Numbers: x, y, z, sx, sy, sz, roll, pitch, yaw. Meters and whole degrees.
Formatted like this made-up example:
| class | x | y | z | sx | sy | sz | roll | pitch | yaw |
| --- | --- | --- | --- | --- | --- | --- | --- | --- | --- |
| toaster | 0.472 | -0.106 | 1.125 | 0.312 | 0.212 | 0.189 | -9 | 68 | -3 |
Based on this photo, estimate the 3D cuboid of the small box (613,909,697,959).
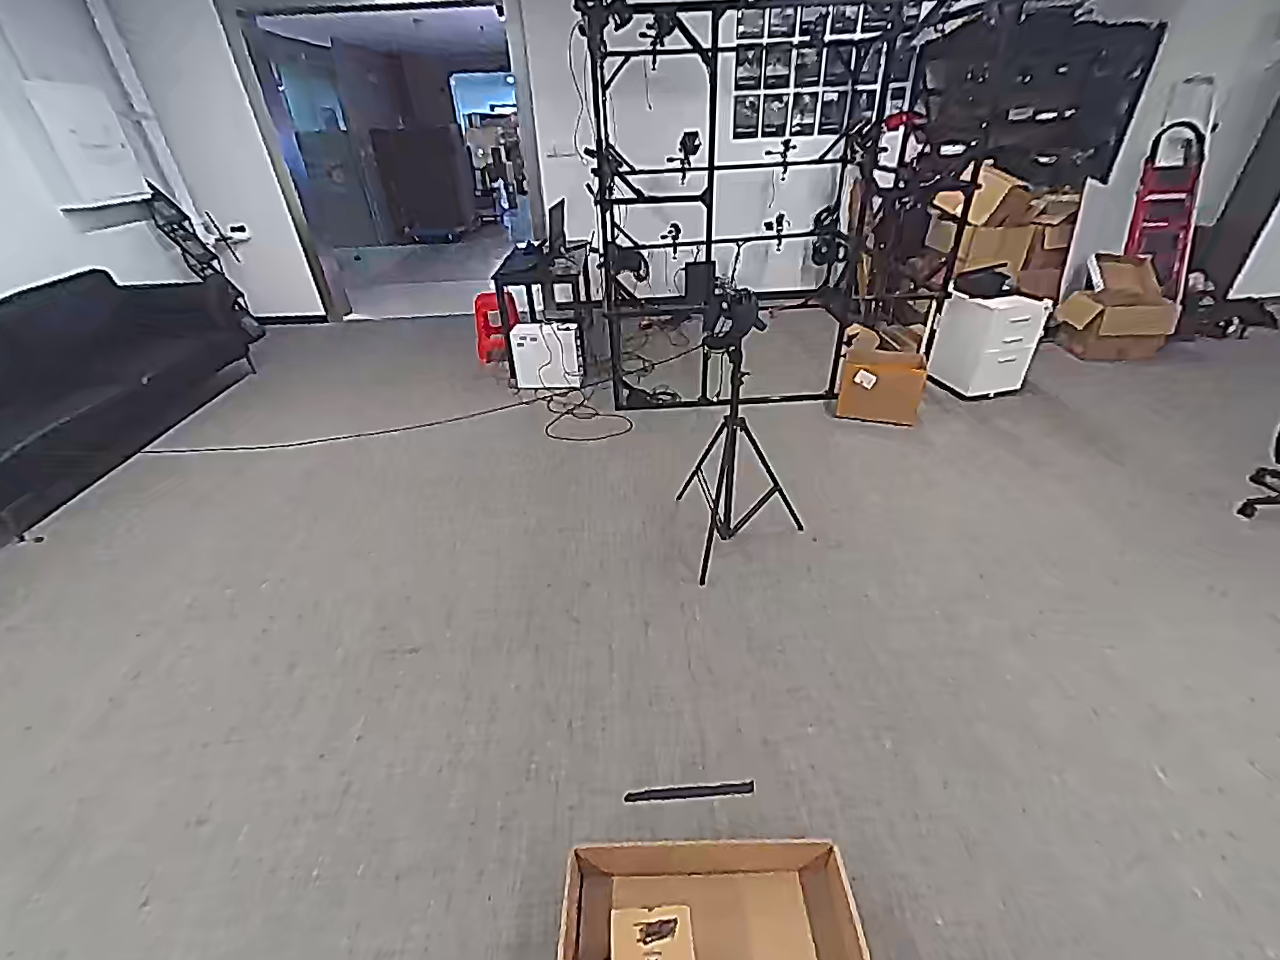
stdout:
| class | x | y | z | sx | sy | sz | roll | pitch | yaw |
| --- | --- | --- | --- | --- | --- | --- | --- | --- | --- |
| small box | 0.030 | 1.002 | 1.082 | 0.168 | 0.176 | 0.179 | -3 | 33 | -2 |
